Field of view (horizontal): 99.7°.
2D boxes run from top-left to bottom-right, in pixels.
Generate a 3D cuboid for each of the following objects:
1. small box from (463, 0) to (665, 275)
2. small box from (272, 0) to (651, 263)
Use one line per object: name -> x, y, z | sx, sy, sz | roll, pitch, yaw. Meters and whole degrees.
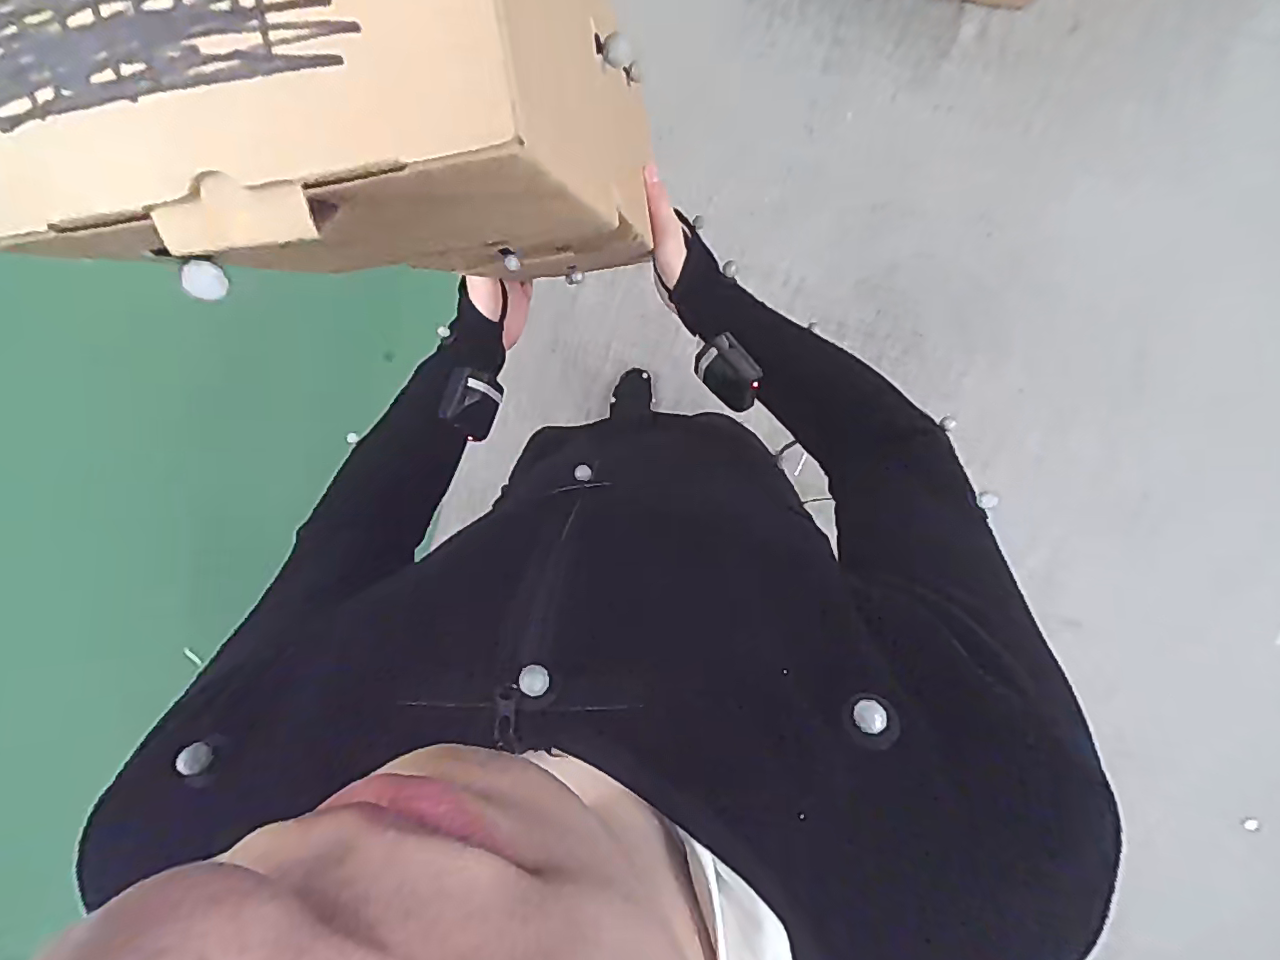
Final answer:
small box -> -0.071, -0.292, 0.490 | 0.168, 0.176, 0.179 | -6, 108, 8
small box -> -0.088, -0.243, 0.337 | 0.168, 0.176, 0.179 | -7, 109, 8
